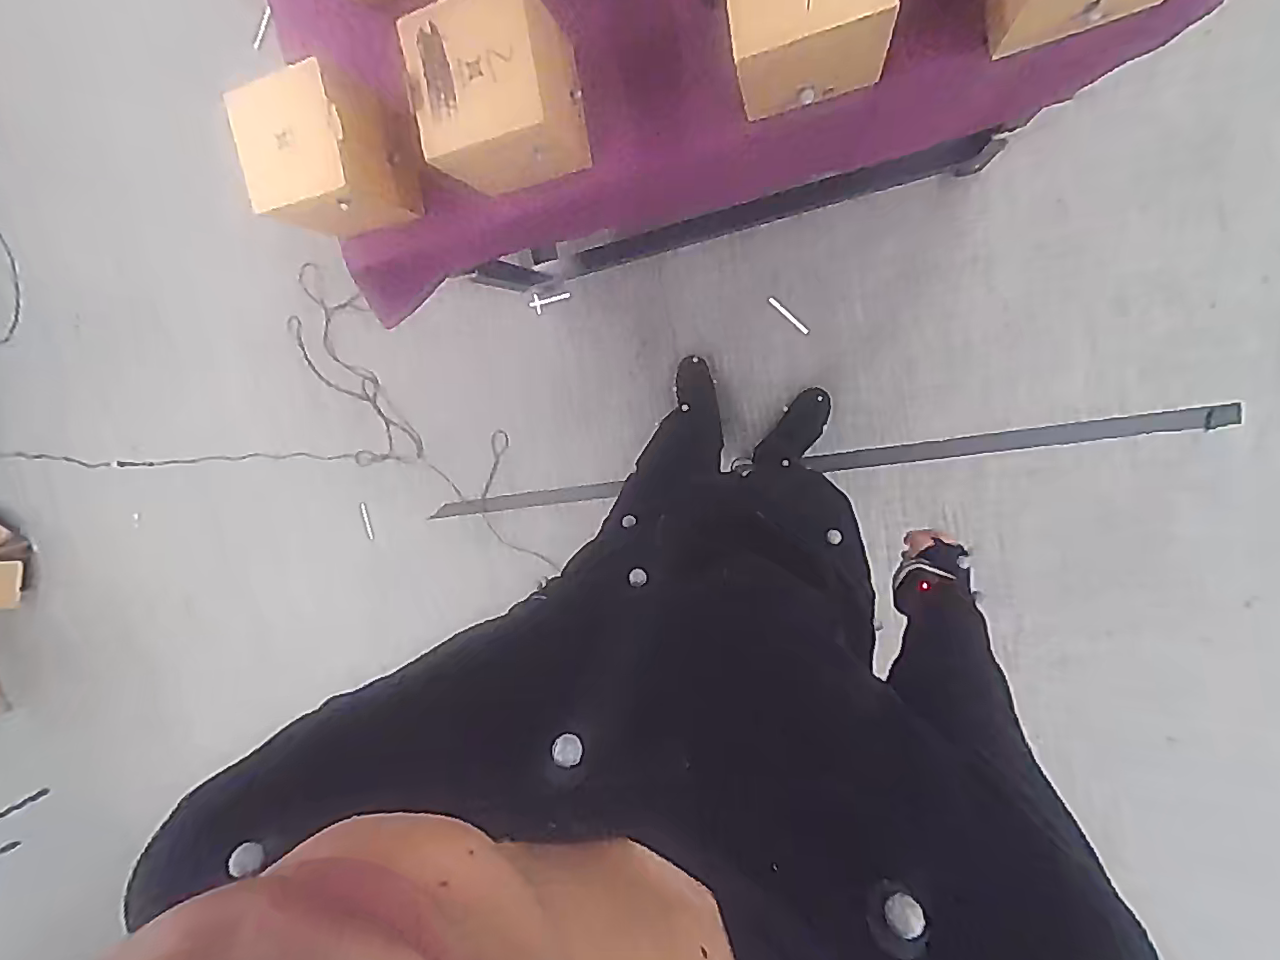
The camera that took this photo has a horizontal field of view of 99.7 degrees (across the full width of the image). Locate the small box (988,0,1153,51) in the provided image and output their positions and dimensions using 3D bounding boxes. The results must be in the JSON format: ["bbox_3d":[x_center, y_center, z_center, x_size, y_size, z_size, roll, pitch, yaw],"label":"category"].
[{"bbox_3d":[0.452,-0.579,0.526,0.168,0.176,0.179,-7,100,20],"label":"small box"}]

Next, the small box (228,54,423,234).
[{"bbox_3d":[-0.469,-0.494,0.828,0.179,0.176,0.168,-6,101,16],"label":"small box"}]
